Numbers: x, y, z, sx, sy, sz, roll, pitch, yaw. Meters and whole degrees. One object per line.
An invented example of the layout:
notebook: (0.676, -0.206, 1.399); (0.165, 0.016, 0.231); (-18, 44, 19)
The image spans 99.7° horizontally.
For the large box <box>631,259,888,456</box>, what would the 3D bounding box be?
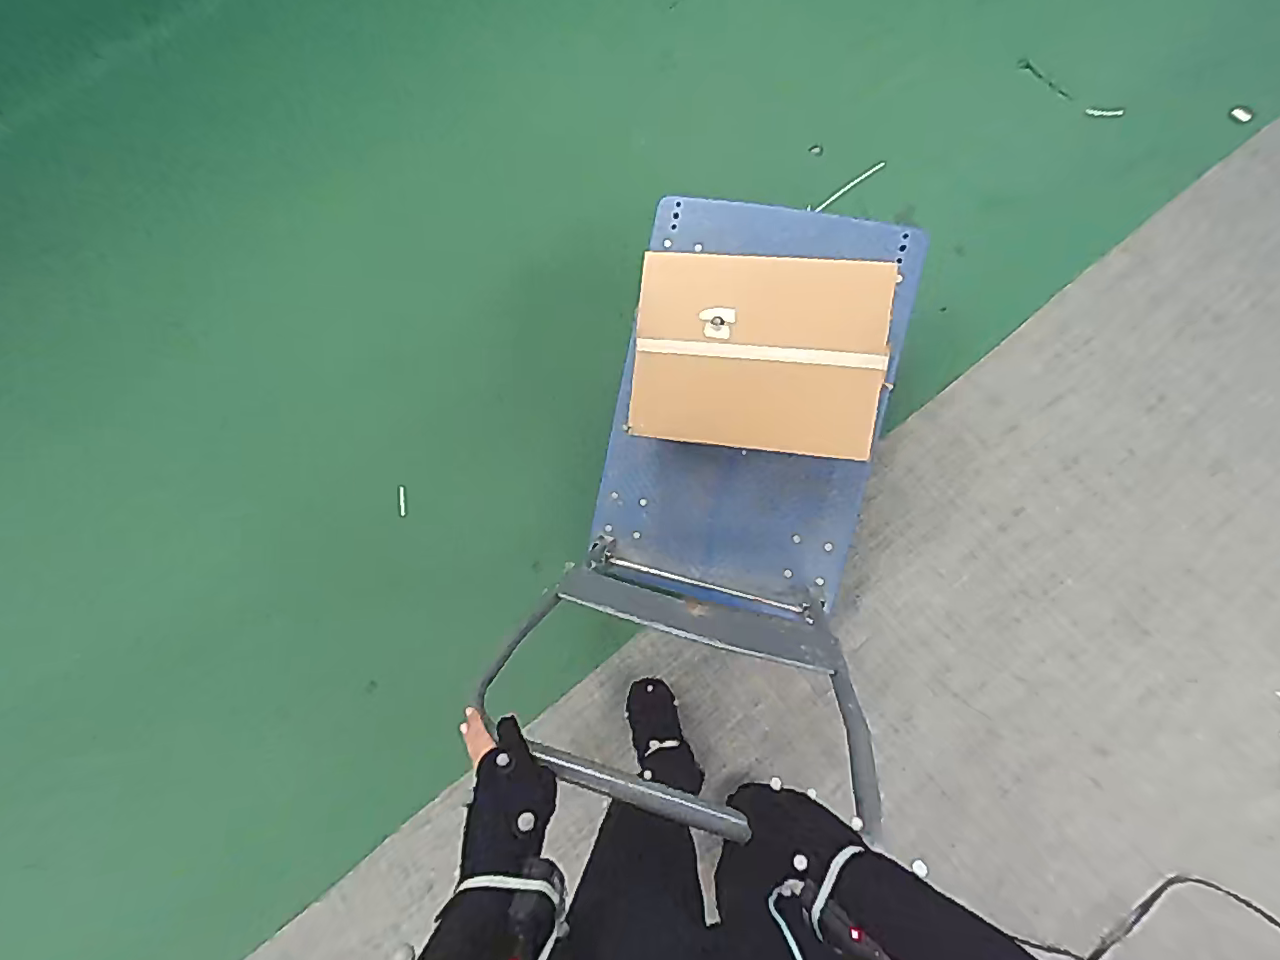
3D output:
large box: (0.223, -0.224, 1.053); (0.408, 0.320, 0.320); (7, 96, 12)
